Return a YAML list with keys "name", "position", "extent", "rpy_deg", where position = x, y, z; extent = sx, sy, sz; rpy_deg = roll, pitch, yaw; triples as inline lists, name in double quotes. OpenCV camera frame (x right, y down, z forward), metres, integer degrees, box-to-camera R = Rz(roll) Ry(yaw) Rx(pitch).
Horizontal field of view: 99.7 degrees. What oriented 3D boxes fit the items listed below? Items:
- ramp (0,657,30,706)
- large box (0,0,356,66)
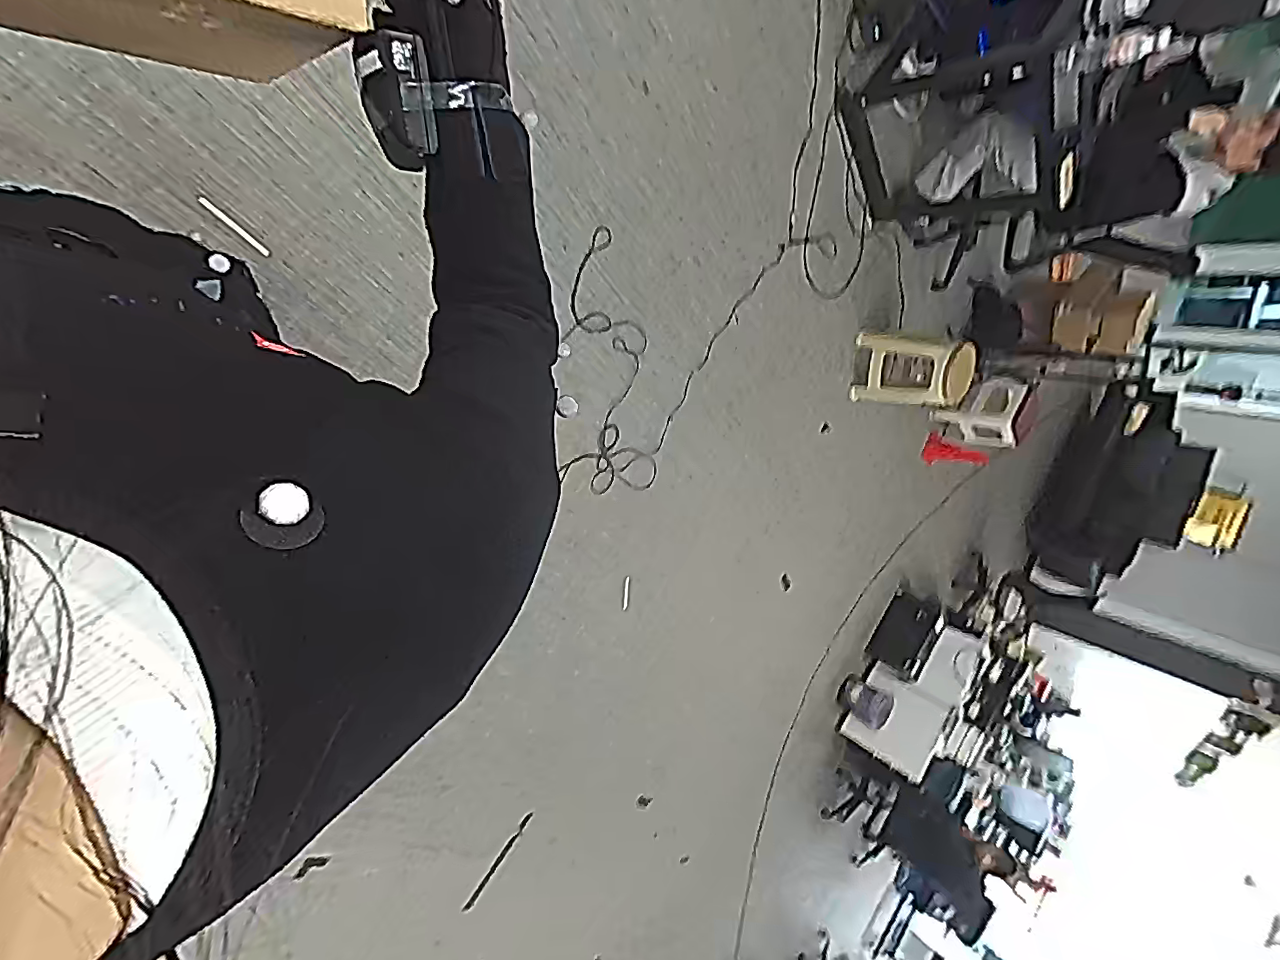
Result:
- name: "ramp"
  position: [-1.572, 0.648, 0.761]
  extent: [0.991, 0.206, 0.509]
  rpy_deg: [-55, 131, -12]
- name: "large box"
  position: [-0.394, -0.413, 0.218]
  extent: [0.408, 0.320, 0.320]
  rpy_deg: [-17, 125, -38]
